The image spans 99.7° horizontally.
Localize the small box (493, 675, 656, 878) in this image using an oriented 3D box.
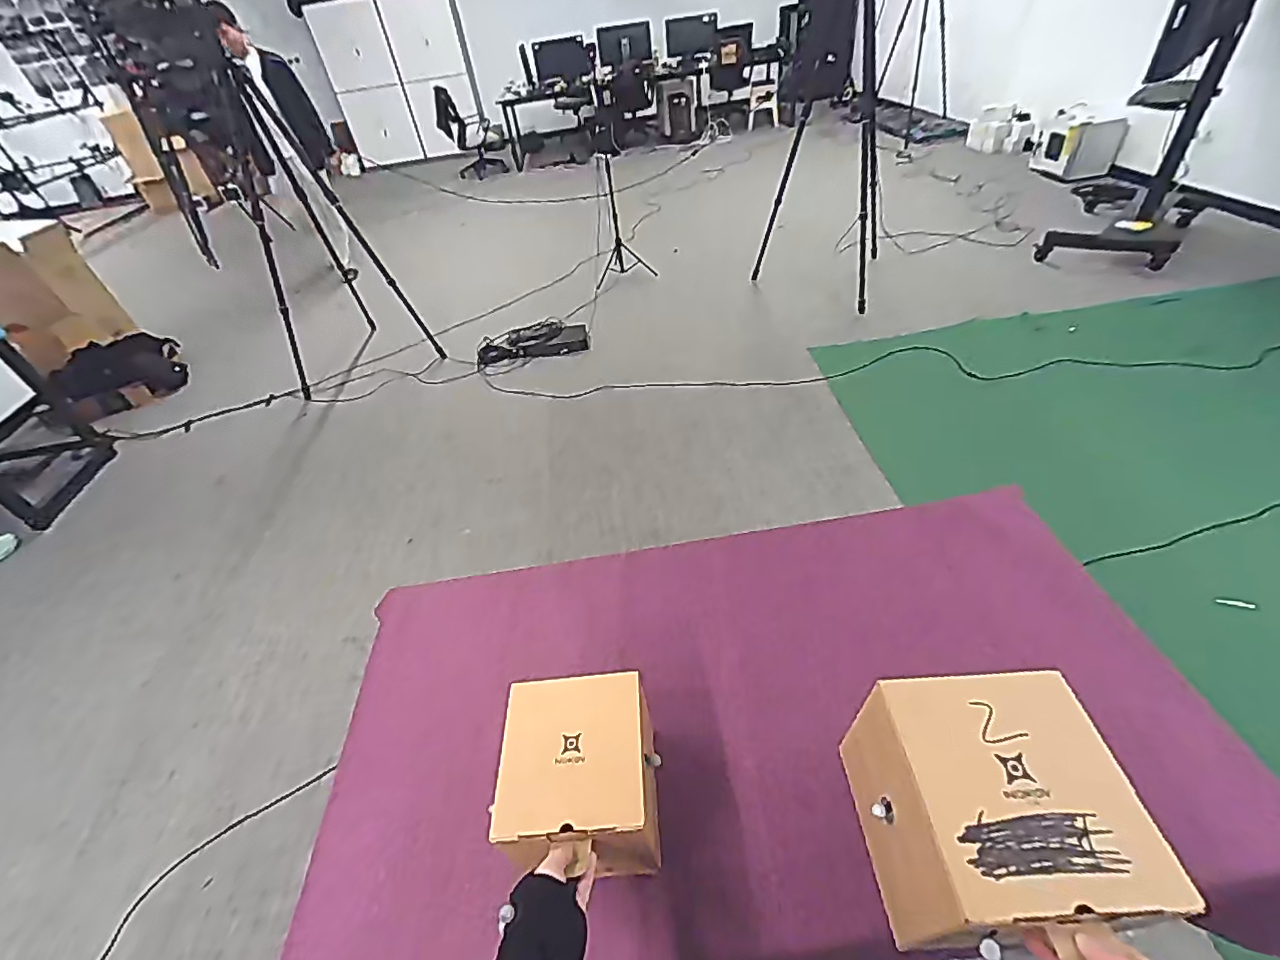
[{"bbox_3d":[-0.071,0.375,0.687,0.168,0.176,0.179,-7,42,3],"label":"small box"}]
